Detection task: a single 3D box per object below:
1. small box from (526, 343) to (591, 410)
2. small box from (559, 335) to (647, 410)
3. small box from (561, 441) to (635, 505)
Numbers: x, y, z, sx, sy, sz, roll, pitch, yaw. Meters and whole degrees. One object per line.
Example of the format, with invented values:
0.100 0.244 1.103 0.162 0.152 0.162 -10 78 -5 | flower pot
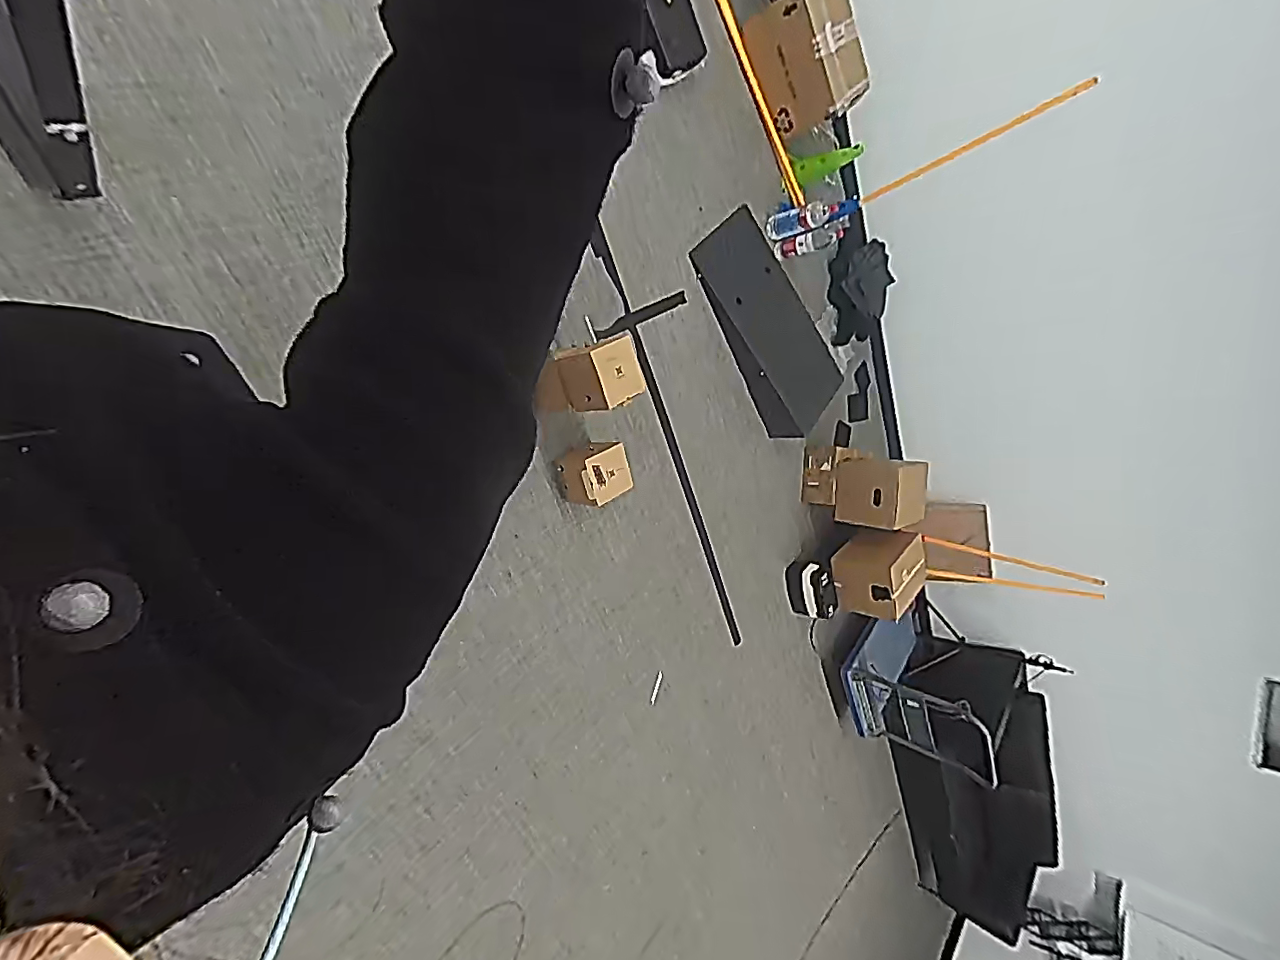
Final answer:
-0.236 -0.329 1.733 0.168 0.176 0.179 -30 114 -38 | small box
-0.112 -0.319 1.625 0.168 0.176 0.179 -35 115 -37 | small box
-0.149 -0.026 1.838 0.179 0.176 0.168 -30 113 -39 | small box
